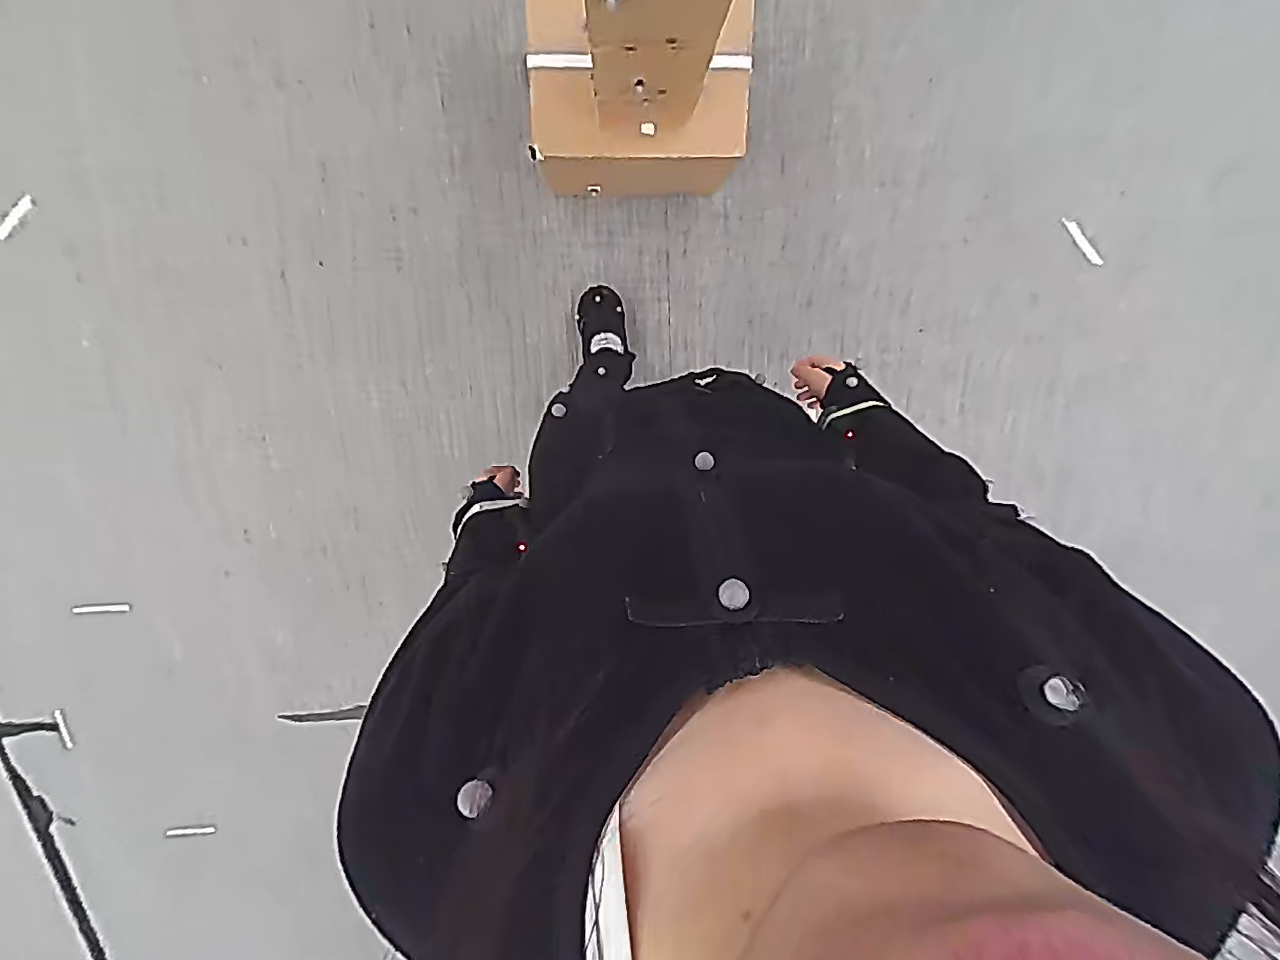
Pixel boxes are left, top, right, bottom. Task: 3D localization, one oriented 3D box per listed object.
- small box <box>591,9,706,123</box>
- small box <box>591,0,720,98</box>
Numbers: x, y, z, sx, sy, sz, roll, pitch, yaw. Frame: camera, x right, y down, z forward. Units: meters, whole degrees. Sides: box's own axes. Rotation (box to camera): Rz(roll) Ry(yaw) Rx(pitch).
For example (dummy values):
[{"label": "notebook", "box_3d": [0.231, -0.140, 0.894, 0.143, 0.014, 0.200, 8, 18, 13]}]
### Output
[{"label": "small box", "box_3d": [0.011, -0.719, 0.905, 0.179, 0.176, 0.168, -4, 107, -3]}, {"label": "small box", "box_3d": [0.015, -0.665, 0.752, 0.168, 0.176, 0.179, -3, 108, -2]}]
